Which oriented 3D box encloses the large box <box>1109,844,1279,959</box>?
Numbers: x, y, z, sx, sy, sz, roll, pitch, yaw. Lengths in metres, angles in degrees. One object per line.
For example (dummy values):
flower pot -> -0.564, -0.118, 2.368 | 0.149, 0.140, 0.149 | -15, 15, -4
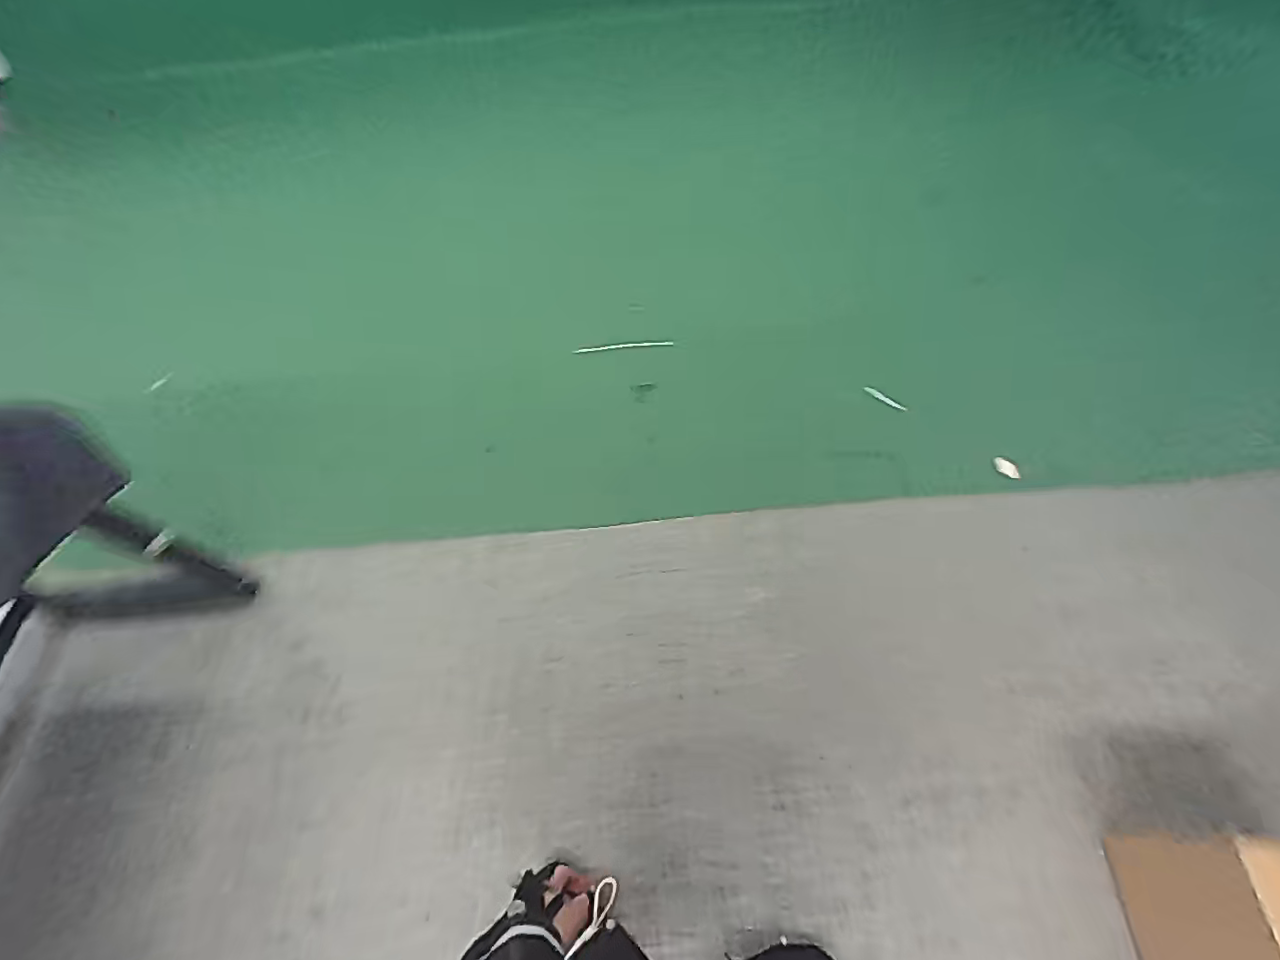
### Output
large box -> 1.026, 0.794, 0.801 | 0.320, 0.320, 0.408 | 0, 60, 6
